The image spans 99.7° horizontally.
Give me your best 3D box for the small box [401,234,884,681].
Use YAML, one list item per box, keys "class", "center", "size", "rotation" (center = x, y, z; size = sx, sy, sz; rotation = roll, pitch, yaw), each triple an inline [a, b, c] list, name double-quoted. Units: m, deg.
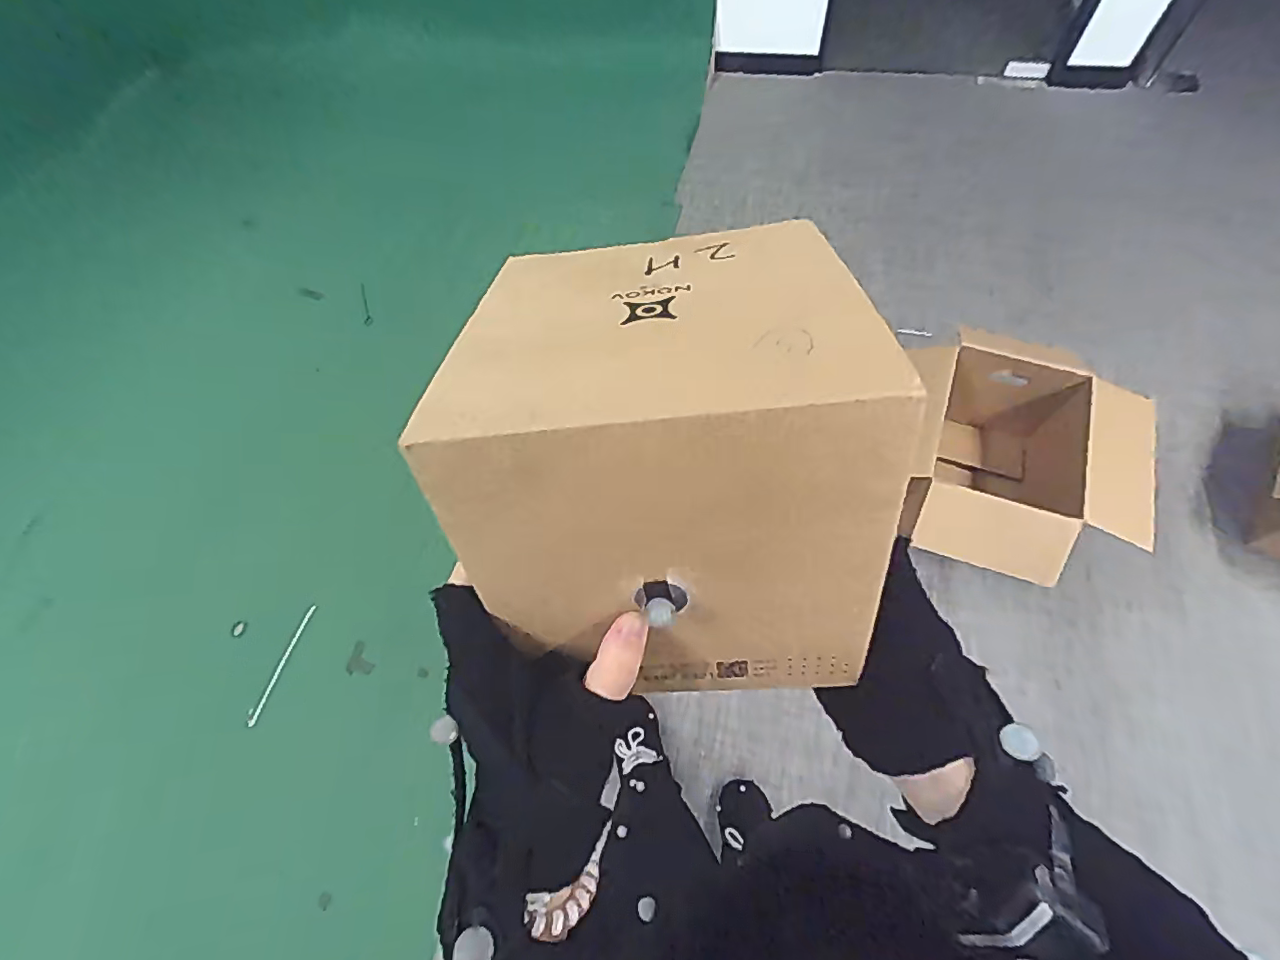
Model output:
- class: "small box"
  center: [0.012, -0.008, 0.289]
  size: [0.168, 0.176, 0.179]
  rotation: [-5, 39, 6]
